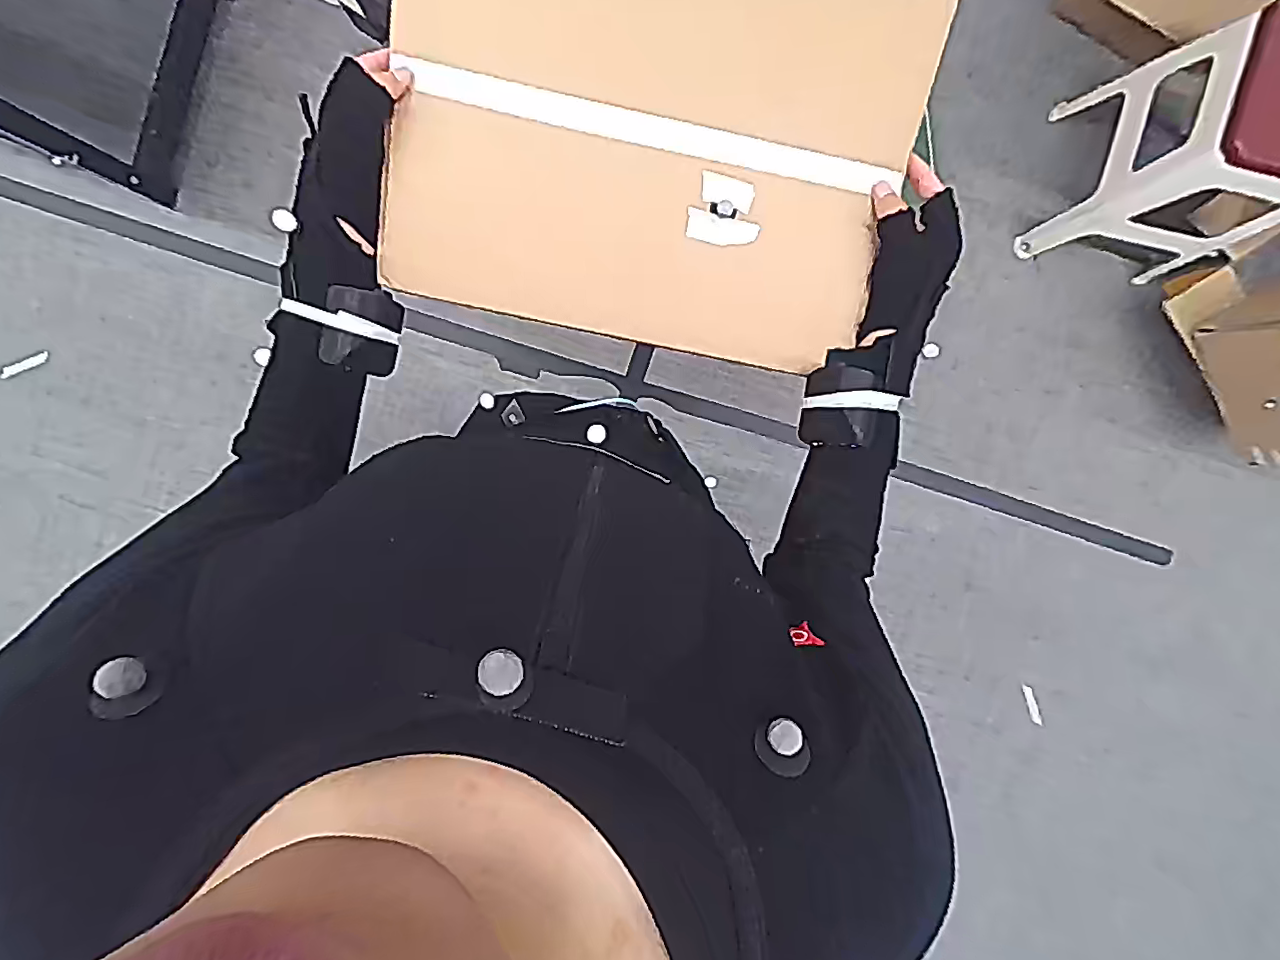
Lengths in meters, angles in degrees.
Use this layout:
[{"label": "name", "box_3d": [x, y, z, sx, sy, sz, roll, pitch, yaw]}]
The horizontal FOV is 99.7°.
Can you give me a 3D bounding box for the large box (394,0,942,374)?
[{"label": "large box", "box_3d": [0.005, -0.312, 0.578, 0.408, 0.320, 0.320, 10, 106, -6]}]
